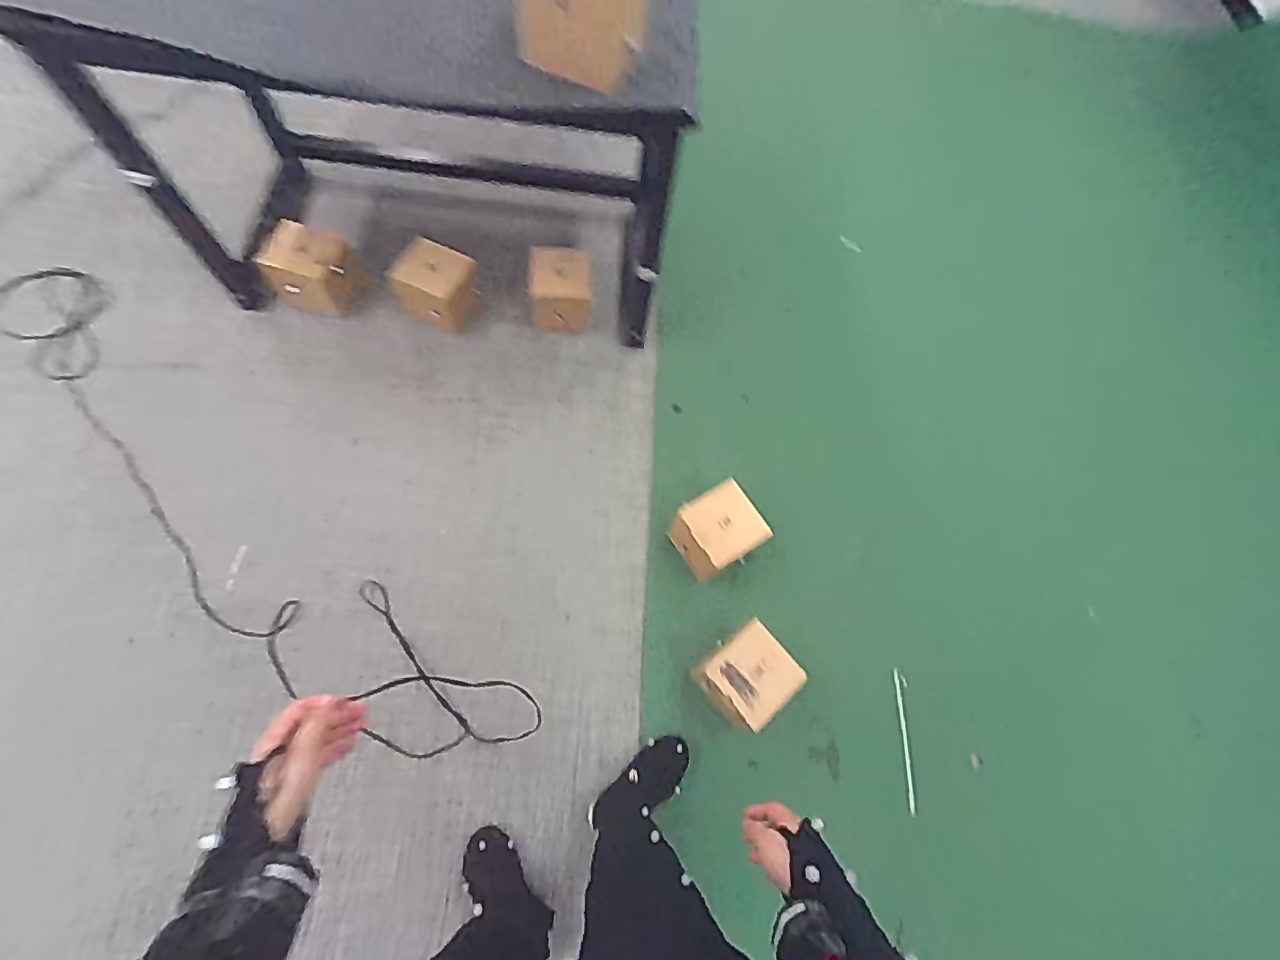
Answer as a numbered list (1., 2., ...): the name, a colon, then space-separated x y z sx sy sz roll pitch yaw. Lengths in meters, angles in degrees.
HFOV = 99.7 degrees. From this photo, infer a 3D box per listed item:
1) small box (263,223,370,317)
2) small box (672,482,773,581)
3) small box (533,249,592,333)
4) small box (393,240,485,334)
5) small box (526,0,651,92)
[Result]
1. small box: -0.918 -0.597 1.555 0.179 0.176 0.168 16 67 1
2. small box: 0.202 0.137 1.388 0.179 0.176 0.168 -29 74 -16
3. small box: -0.228 -0.560 1.619 0.168 0.176 0.179 0 68 -7
4. small box: -0.574 -0.555 1.578 0.179 0.176 0.168 23 66 4
5. small box: -0.090 -0.826 0.949 0.179 0.176 0.168 23 65 4
